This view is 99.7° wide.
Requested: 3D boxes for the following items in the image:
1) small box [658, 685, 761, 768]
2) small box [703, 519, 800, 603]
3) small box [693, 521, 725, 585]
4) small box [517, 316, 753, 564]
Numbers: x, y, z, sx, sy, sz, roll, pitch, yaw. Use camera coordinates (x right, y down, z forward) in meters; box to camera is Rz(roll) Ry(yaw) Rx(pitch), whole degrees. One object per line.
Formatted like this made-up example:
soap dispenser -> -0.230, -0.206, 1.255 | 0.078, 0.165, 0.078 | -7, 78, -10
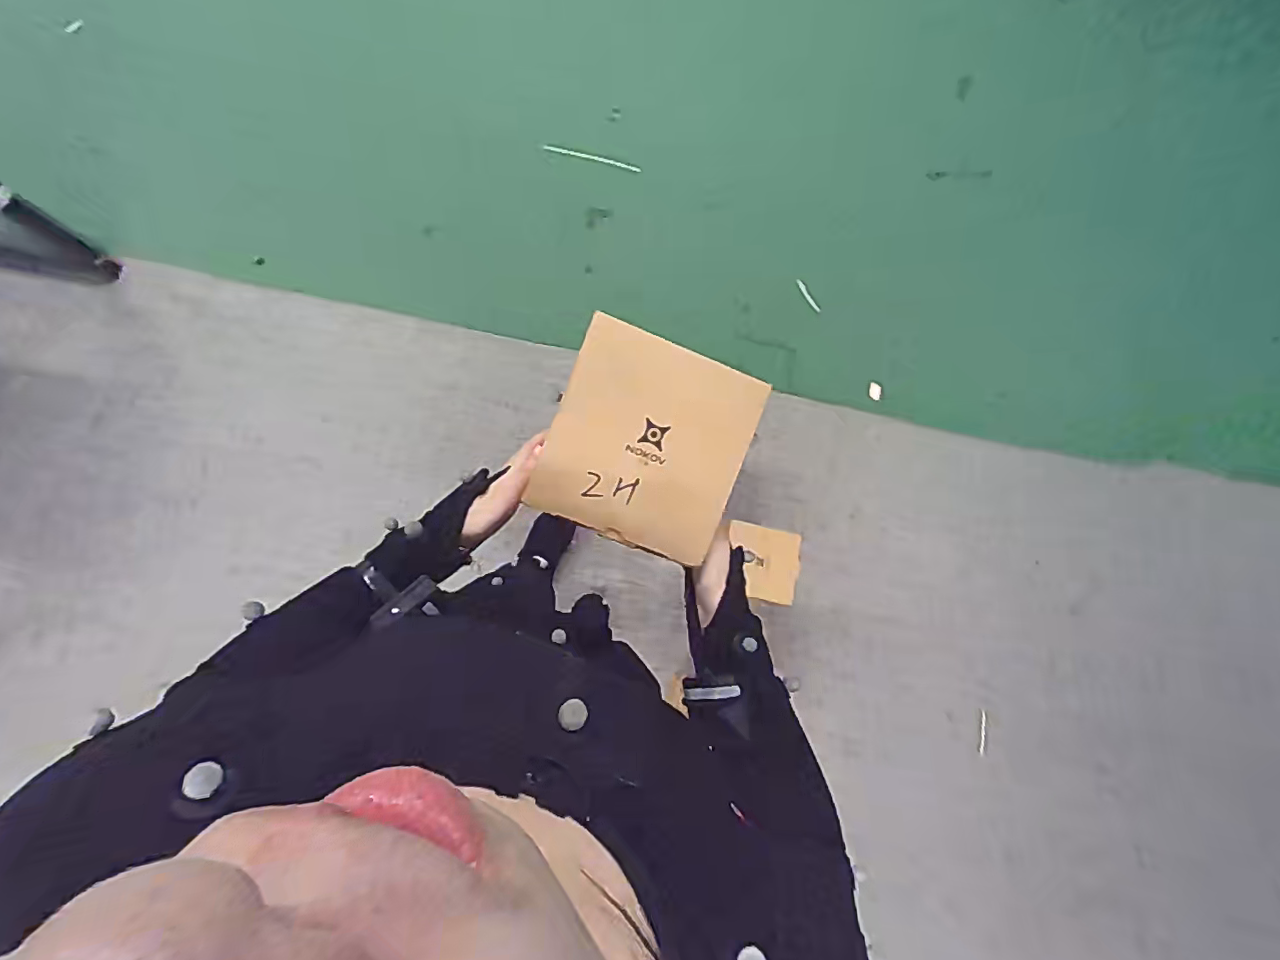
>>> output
small box -> 0.154, 0.595, 1.256 | 0.179, 0.176, 0.168 | 19, 80, -1
small box -> 0.269, 0.199, 1.330 | 0.179, 0.176, 0.168 | 12, 79, -2
small box -> 0.256, 0.223, 1.491 | 0.179, 0.176, 0.168 | 16, 80, -2
small box -> -0.012, -0.037, 0.553 | 0.168, 0.176, 0.179 | 21, 91, -7
